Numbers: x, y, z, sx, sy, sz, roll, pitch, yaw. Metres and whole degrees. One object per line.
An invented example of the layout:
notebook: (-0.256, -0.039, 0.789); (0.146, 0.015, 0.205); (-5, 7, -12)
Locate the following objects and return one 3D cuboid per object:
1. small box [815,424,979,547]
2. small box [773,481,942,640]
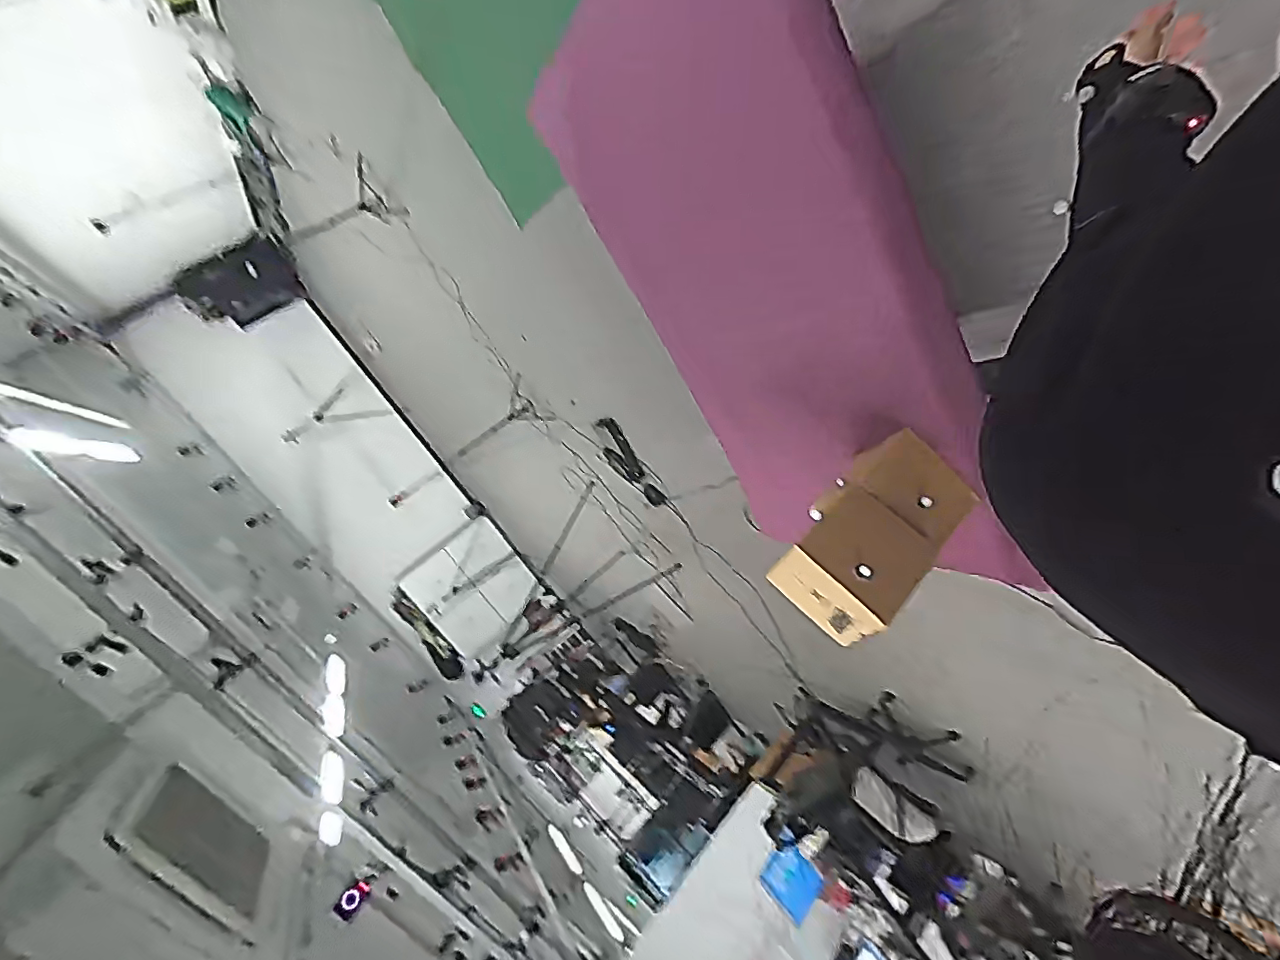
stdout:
small box: (0.467, 0.032, 0.985); (0.179, 0.176, 0.168); (46, 158, 5)
small box: (0.361, 0.135, 0.910); (0.179, 0.176, 0.168); (43, 157, 16)
